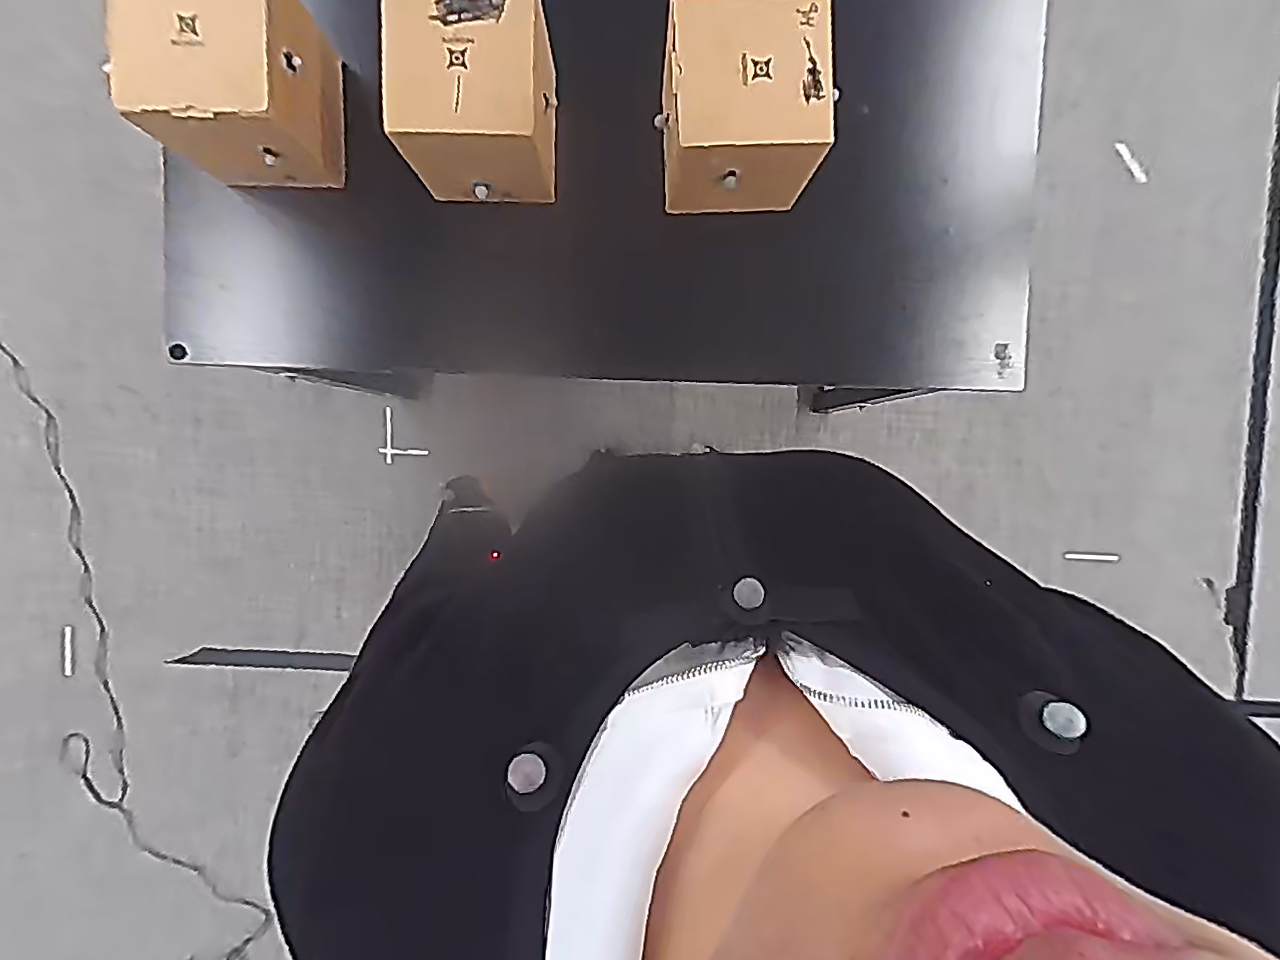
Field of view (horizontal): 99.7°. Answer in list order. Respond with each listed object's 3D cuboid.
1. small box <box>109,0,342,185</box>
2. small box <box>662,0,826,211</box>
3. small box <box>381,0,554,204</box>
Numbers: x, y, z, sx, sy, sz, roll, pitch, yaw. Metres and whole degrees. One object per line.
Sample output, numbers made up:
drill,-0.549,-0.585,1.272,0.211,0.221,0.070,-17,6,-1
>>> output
small box,-0.487,-0.487,0.661,0.168,0.176,0.179,0,92,-3
small box,0.118,-0.455,0.675,0.179,0.176,0.168,-3,93,0
small box,-0.200,-0.470,0.667,0.168,0.176,0.179,1,94,-1
